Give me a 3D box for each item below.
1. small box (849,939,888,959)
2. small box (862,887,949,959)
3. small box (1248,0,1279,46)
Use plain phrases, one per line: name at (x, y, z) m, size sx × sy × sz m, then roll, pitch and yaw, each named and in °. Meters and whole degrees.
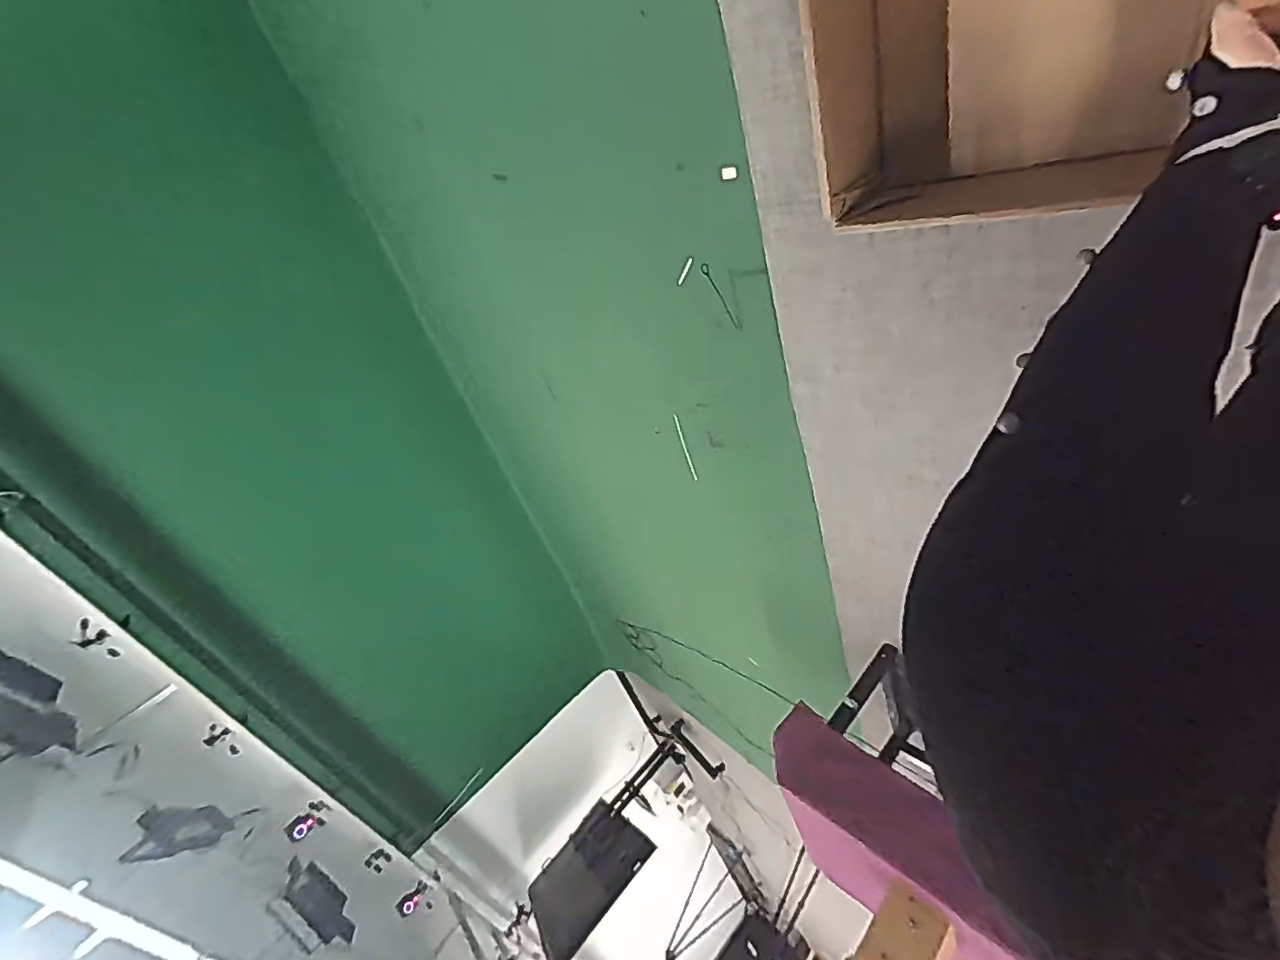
small box at (0.650, 1.421, 1.483) m, size 0.168 × 0.176 × 0.179 m, roll 20°, pitch 140°, yaw 48°
small box at (0.765, 1.328, 1.552) m, size 0.168 × 0.176 × 0.179 m, roll 19°, pitch 139°, yaw 49°
small box at (0.500, -0.383, 0.309) m, size 0.179 × 0.176 × 0.168 m, roll 30°, pitch 125°, yaw 49°
